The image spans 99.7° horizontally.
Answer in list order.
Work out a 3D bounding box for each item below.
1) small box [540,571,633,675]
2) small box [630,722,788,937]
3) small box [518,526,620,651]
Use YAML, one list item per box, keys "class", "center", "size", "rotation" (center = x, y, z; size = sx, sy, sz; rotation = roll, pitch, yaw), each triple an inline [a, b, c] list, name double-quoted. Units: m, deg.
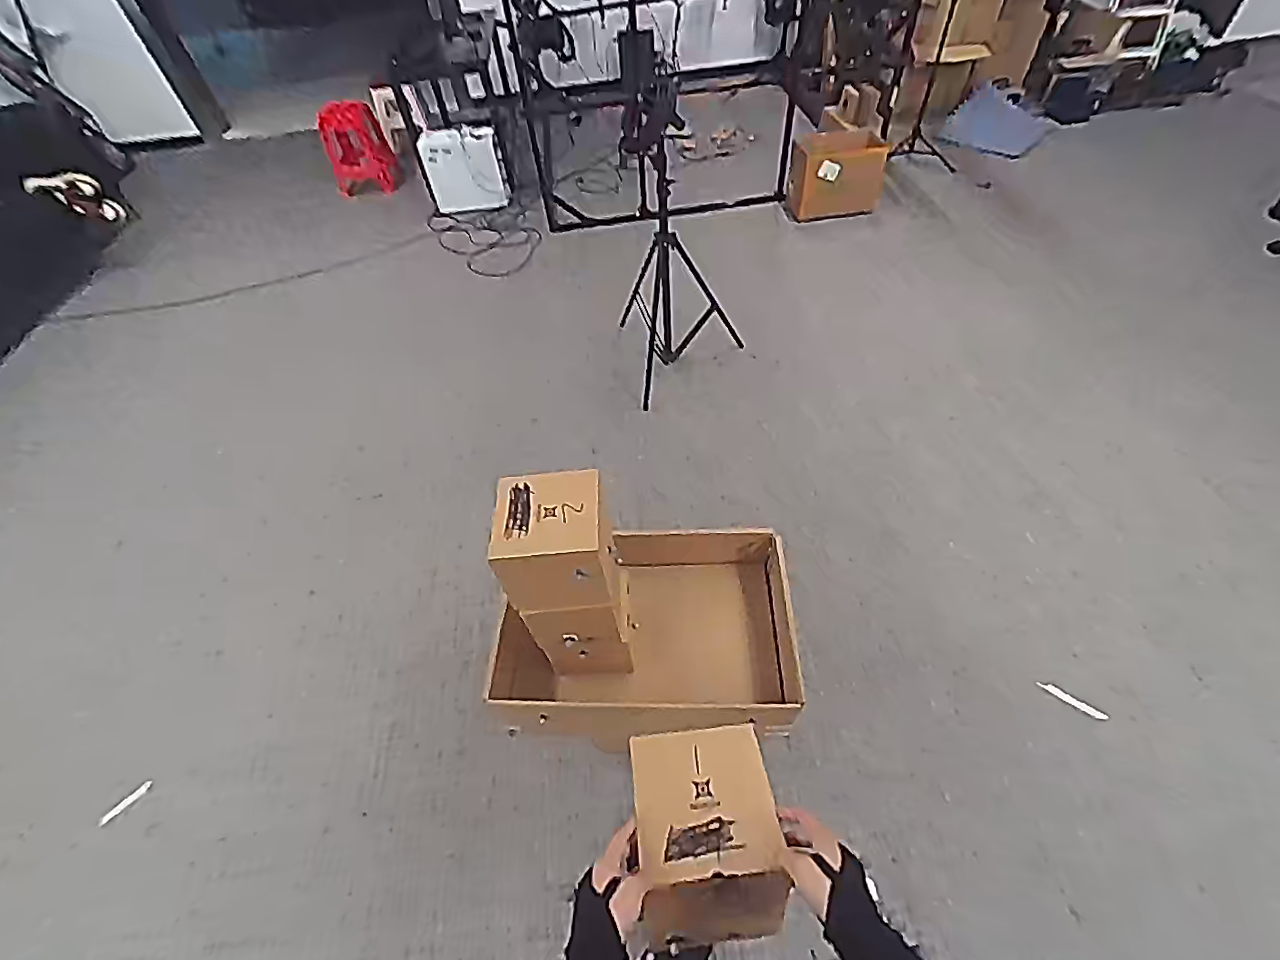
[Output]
- class: "small box"
  center: [-0.109, 0.316, 1.180]
  size: [0.179, 0.176, 0.168]
  rotation: [-3, 51, 1]
- class: "small box"
  center: [0.079, 0.443, 0.686]
  size: [0.168, 0.176, 0.179]
  rotation: [-5, 31, -2]
- class: "small box"
  center: [-0.131, 0.213, 1.054]
  size: [0.168, 0.176, 0.179]
  rotation: [-6, 50, 1]
